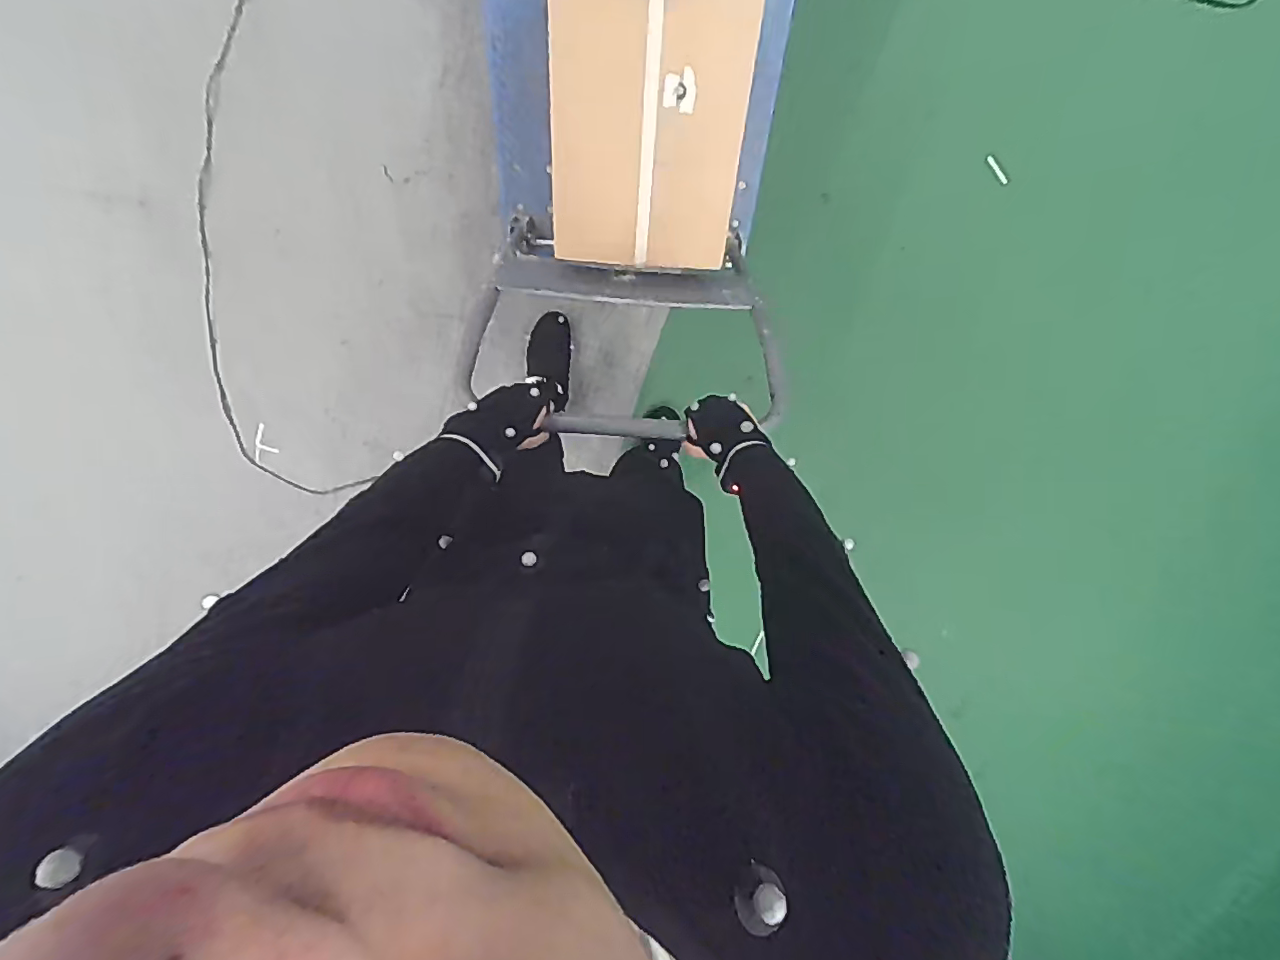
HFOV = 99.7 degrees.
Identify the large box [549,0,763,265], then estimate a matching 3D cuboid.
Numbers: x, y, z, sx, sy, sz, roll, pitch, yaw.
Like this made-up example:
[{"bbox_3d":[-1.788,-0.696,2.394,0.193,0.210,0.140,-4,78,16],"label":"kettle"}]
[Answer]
[{"bbox_3d":[0.016,-0.650,0.996,0.320,0.320,0.408,2,128,-3],"label":"large box"}]
